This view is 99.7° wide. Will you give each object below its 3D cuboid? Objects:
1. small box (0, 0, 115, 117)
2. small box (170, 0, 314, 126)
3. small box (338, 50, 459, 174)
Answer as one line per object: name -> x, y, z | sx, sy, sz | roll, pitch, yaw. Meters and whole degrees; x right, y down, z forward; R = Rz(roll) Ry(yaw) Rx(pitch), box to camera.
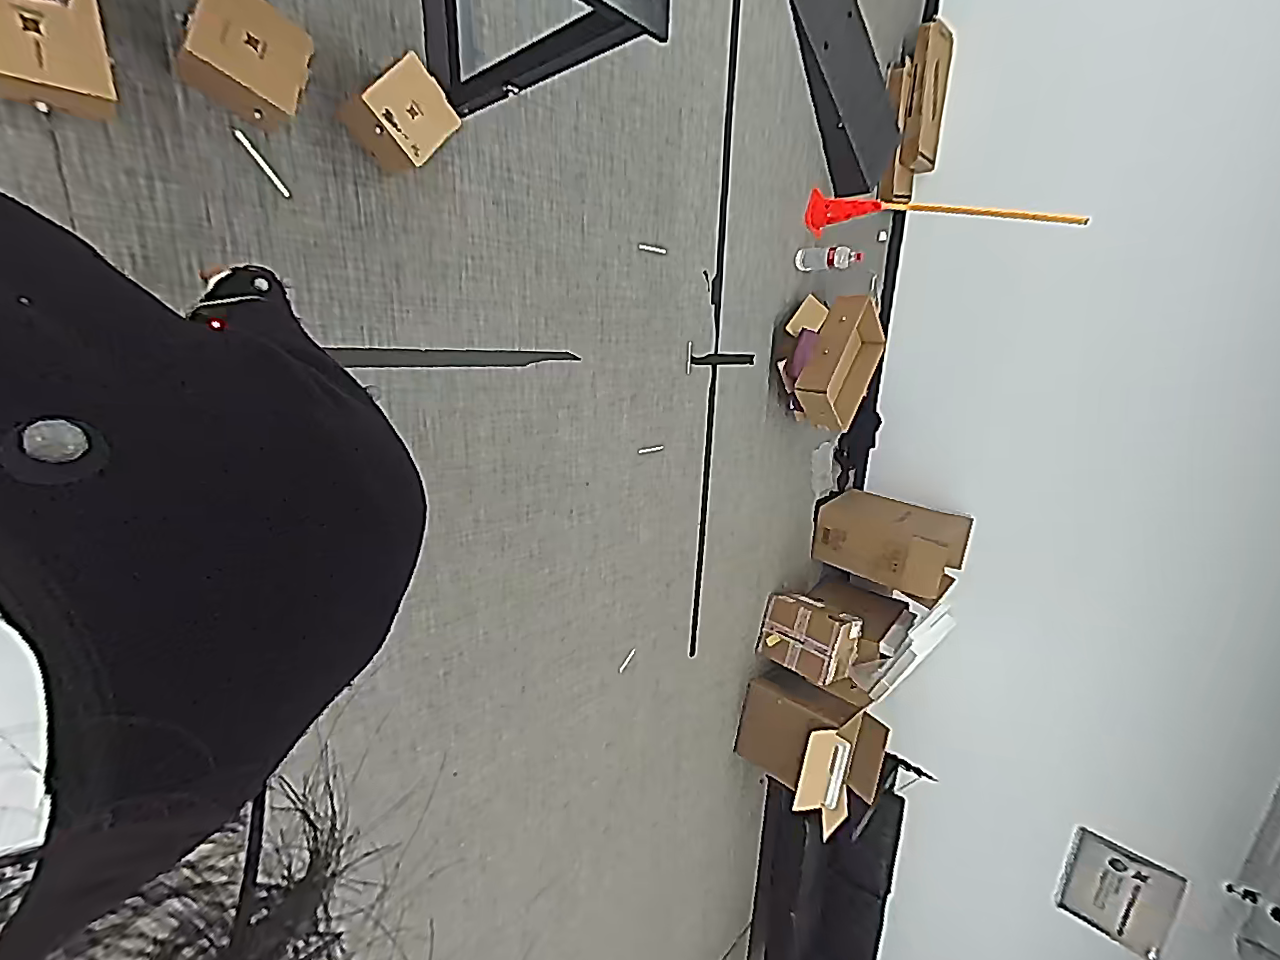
small box -> -0.988, -0.722, 0.874 | 0.168, 0.176, 0.179 | -15, 115, -44
small box -> -0.784, -0.836, 1.065 | 0.179, 0.176, 0.168 | 16, 89, -48
small box -> -0.575, -0.864, 1.282 | 0.179, 0.176, 0.168 | -58, 136, -17
